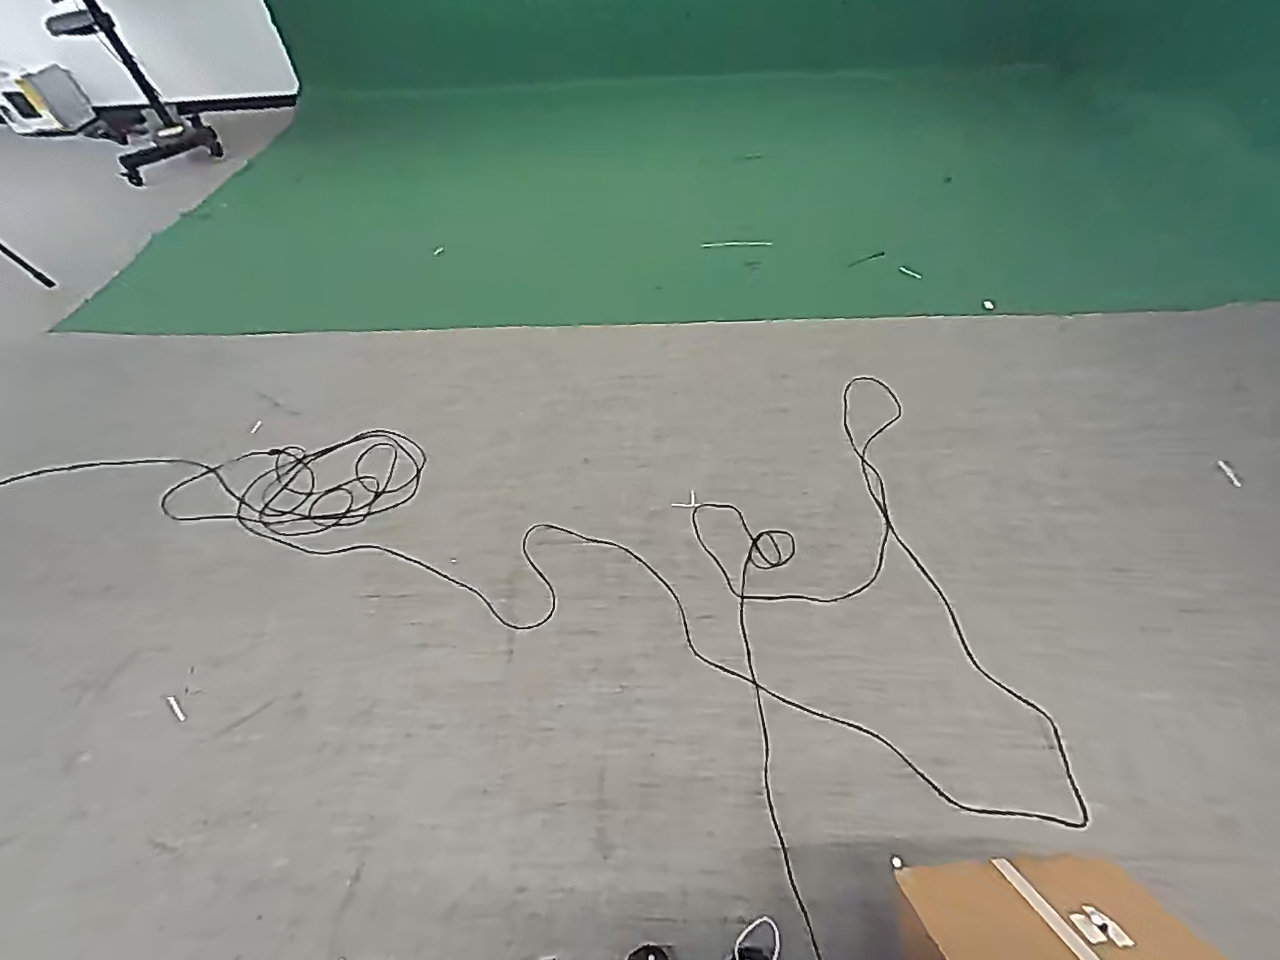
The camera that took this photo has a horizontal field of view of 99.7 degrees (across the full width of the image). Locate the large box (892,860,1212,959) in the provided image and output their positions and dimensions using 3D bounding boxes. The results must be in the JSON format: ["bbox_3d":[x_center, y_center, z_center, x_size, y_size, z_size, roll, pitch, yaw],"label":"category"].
[{"bbox_3d":[0.548,0.736,0.619,0.320,0.408,0.320,-6,89,2],"label":"large box"}]
